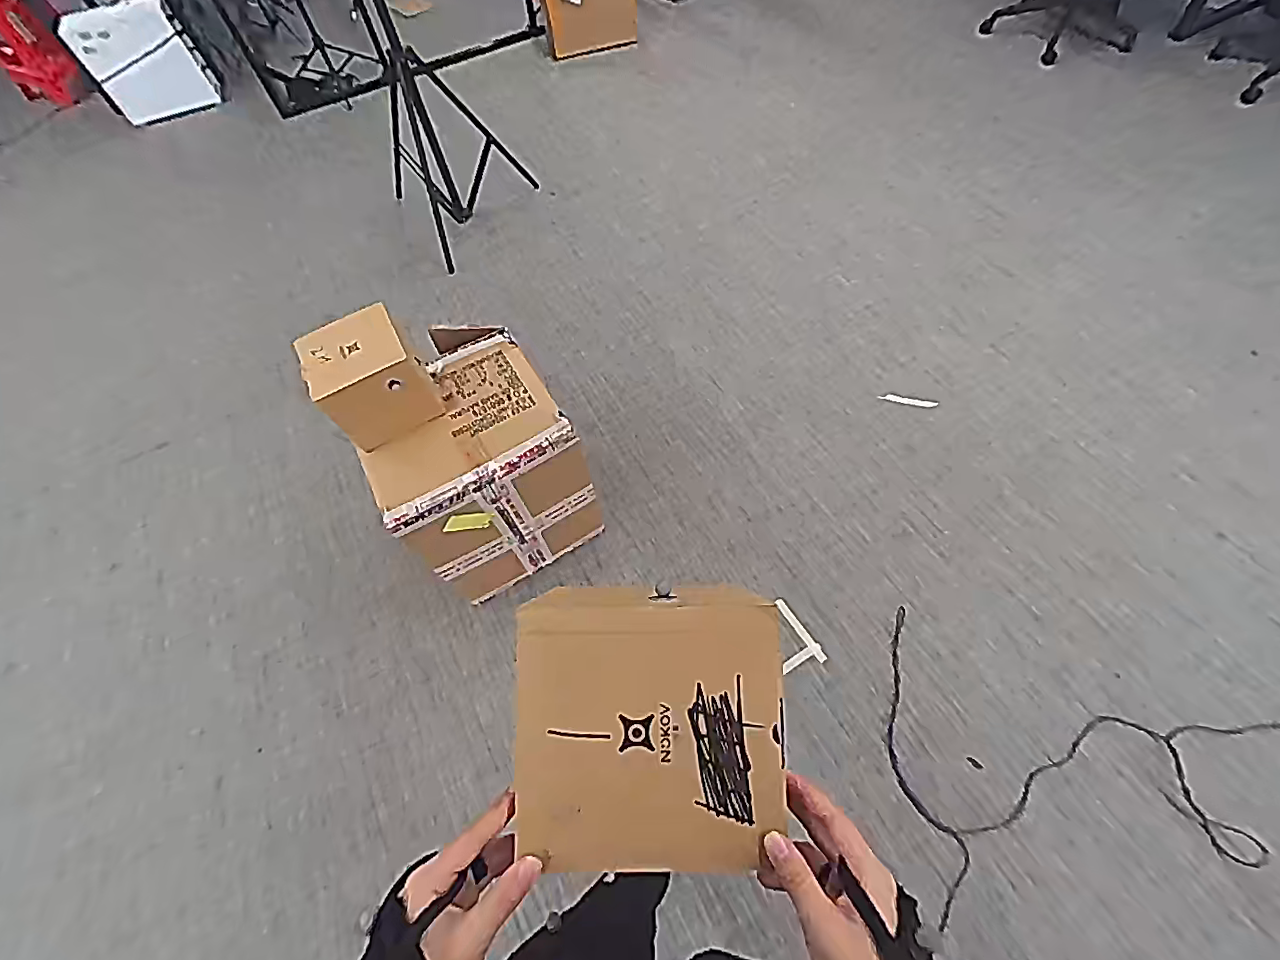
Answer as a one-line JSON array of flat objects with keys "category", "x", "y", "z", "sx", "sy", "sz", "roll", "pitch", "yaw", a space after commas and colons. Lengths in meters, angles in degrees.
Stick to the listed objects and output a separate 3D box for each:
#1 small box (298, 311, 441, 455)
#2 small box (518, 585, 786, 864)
[{"category": "small box", "x": -0.507, "y": -0.181, "z": 1.038, "sx": 0.179, "sy": 0.176, "sz": 0.168, "roll": -29, "pitch": 62, "yaw": -9}, {"category": "small box", "x": 0.007, "y": 0.174, "z": 0.436, "sx": 0.179, "sy": 0.176, "sz": 0.168, "roll": -1, "pitch": 83, "yaw": 1}]
